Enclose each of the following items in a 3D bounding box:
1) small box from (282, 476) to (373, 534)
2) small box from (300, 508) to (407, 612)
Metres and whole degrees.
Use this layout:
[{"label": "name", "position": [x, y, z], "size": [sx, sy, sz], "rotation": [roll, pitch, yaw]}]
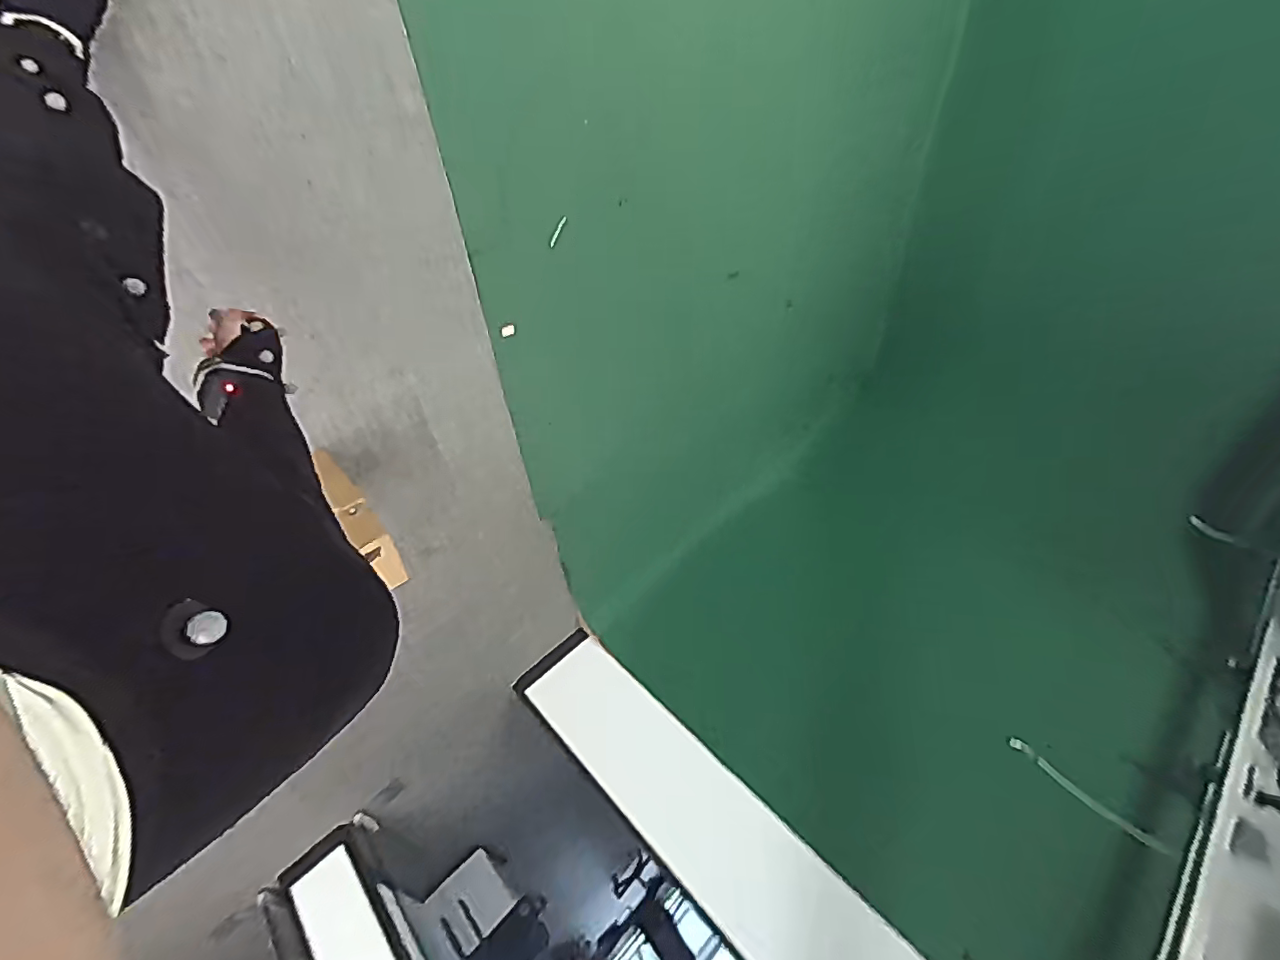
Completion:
[{"label": "small box", "position": [-0.838, 0.109, 1.473], "size": [0.168, 0.176, 0.179], "rotation": [-31, 137, -32]}, {"label": "small box", "position": [-0.731, 0.194, 1.380], "size": [0.168, 0.176, 0.179], "rotation": [-32, 139, -31]}]
